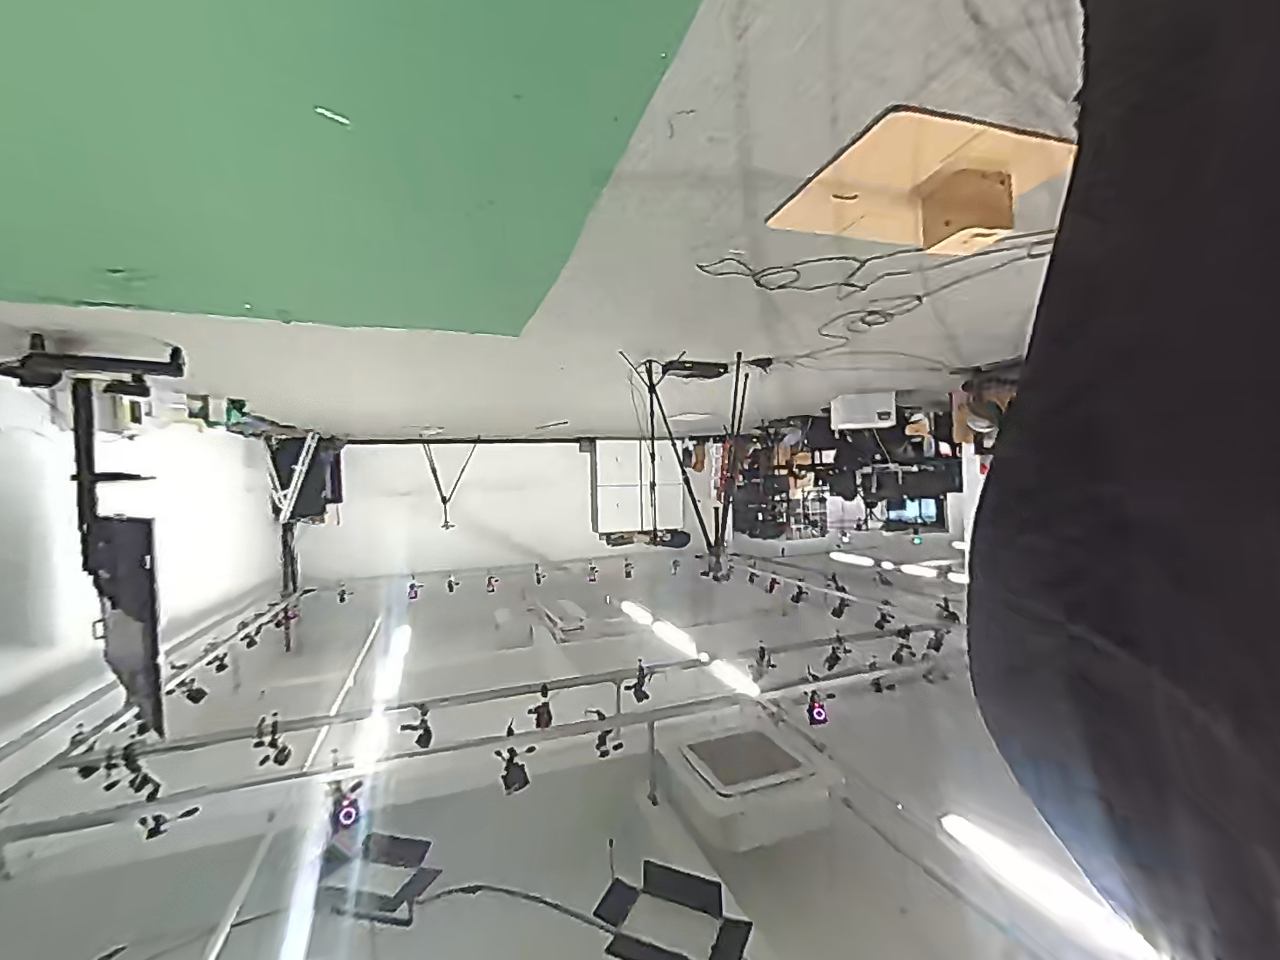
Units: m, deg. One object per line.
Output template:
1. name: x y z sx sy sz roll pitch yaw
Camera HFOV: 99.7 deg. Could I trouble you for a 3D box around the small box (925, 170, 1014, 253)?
1. small box: 0.987 -0.808 1.634 0.168 0.176 0.179 -2 180 -13
